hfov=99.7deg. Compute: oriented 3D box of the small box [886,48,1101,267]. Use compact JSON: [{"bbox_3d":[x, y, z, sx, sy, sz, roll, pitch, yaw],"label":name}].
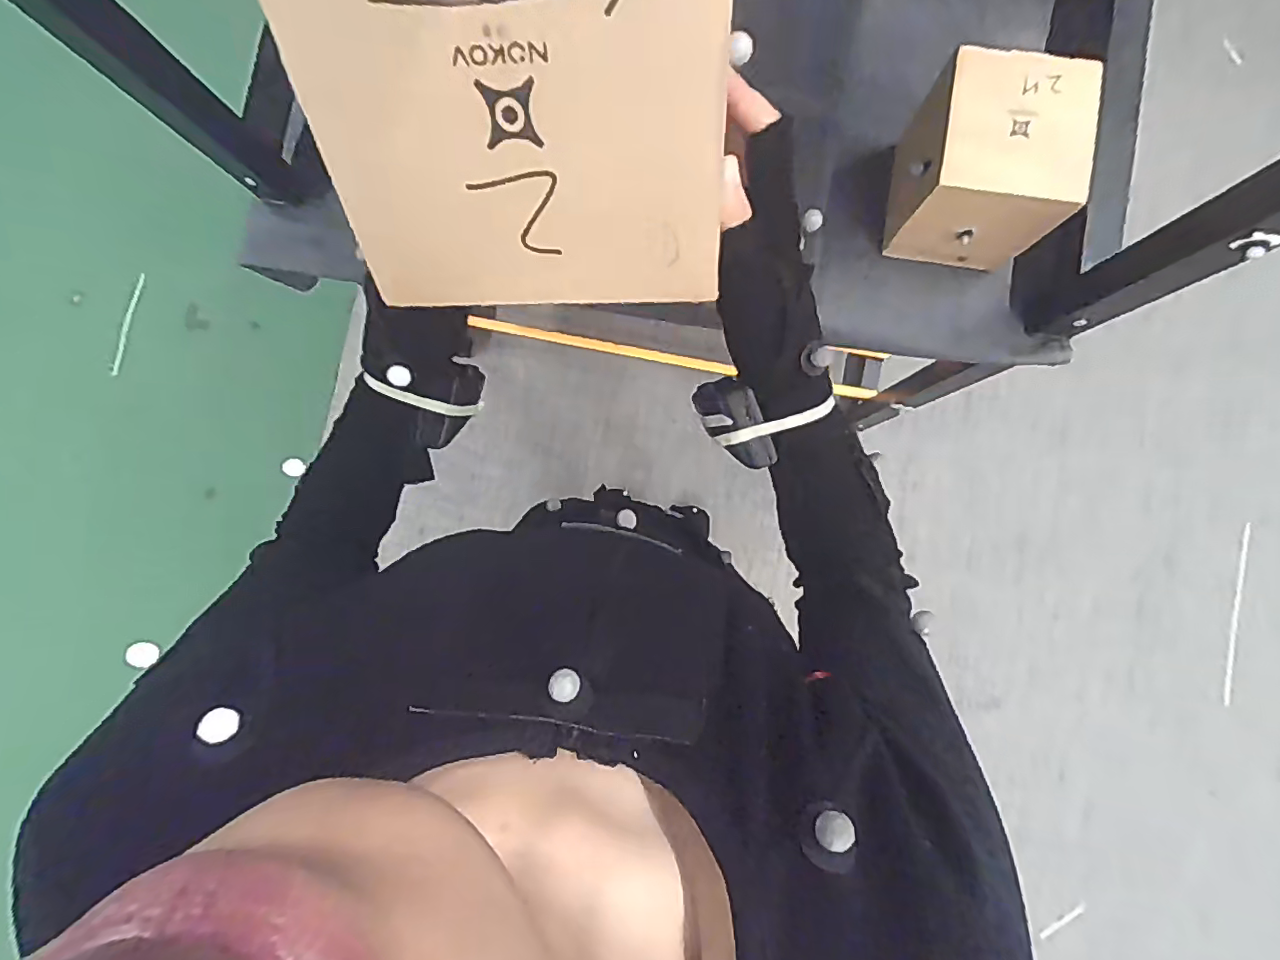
[{"bbox_3d":[0.440,-0.401,0.701,0.168,0.176,0.179,9,86,3],"label":"small box"}]
